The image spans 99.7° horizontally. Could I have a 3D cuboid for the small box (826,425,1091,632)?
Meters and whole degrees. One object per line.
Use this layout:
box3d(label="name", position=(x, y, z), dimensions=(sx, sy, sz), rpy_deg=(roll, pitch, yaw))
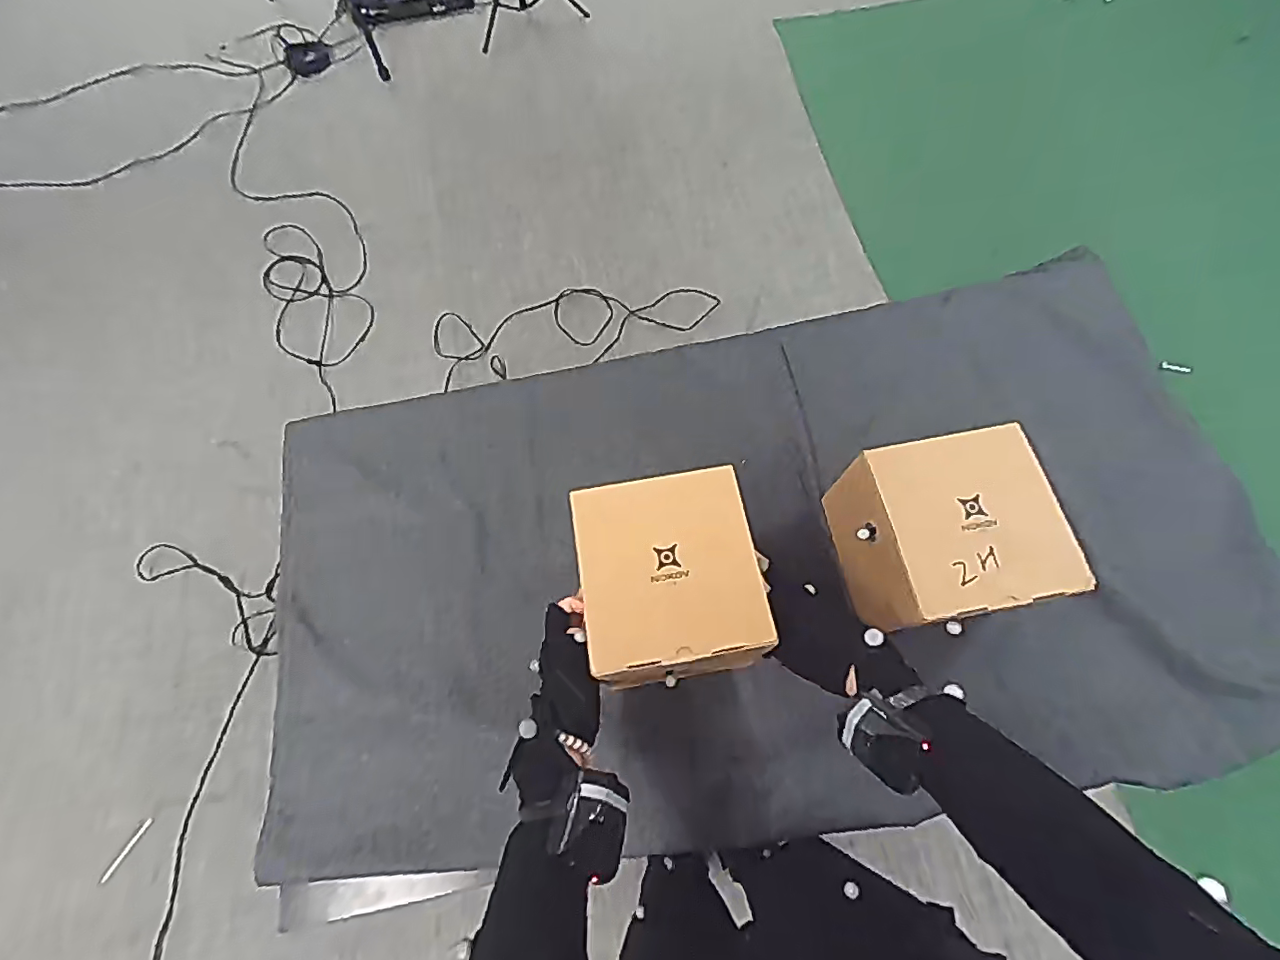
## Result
box3d(label="small box", position=(0.326, 0.062, 0.600), dimensions=(0.168, 0.176, 0.179), rpy_deg=(-10, 70, -2))

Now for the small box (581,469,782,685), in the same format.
box3d(label="small box", position=(0.032, 0.110, 0.579), dimensions=(0.168, 0.176, 0.179), rpy_deg=(-9, 66, -4))
